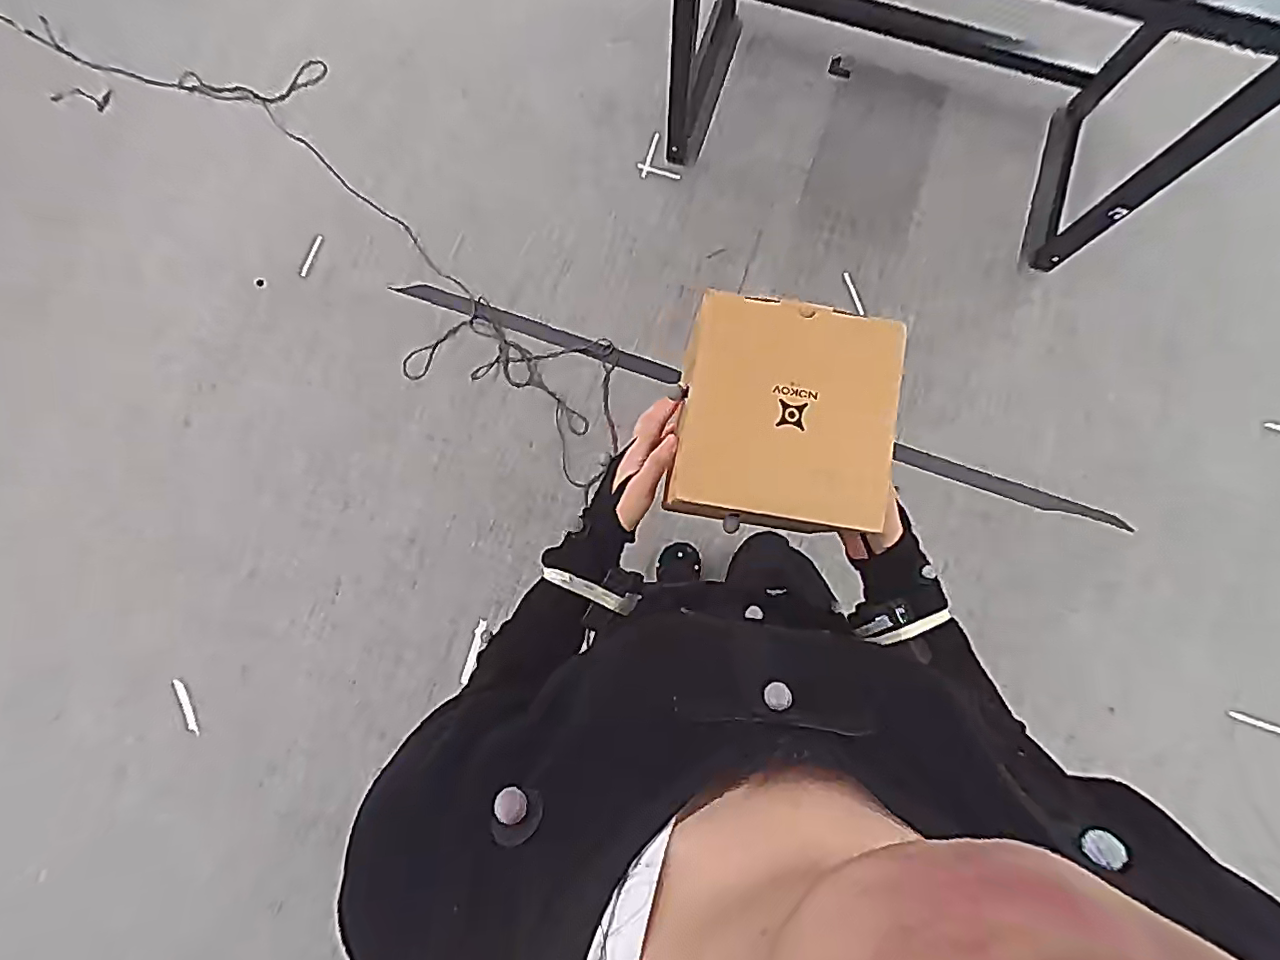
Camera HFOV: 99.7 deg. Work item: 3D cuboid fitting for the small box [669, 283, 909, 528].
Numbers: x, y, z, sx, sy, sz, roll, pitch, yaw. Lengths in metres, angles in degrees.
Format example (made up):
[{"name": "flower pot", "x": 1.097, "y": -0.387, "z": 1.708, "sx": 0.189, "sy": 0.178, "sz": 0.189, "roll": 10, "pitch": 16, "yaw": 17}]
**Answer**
[{"name": "small box", "x": 0.121, "y": -0.053, "z": 0.505, "sx": 0.168, "sy": 0.176, "sz": 0.179, "roll": 9, "pitch": 83, "yaw": 0}]
